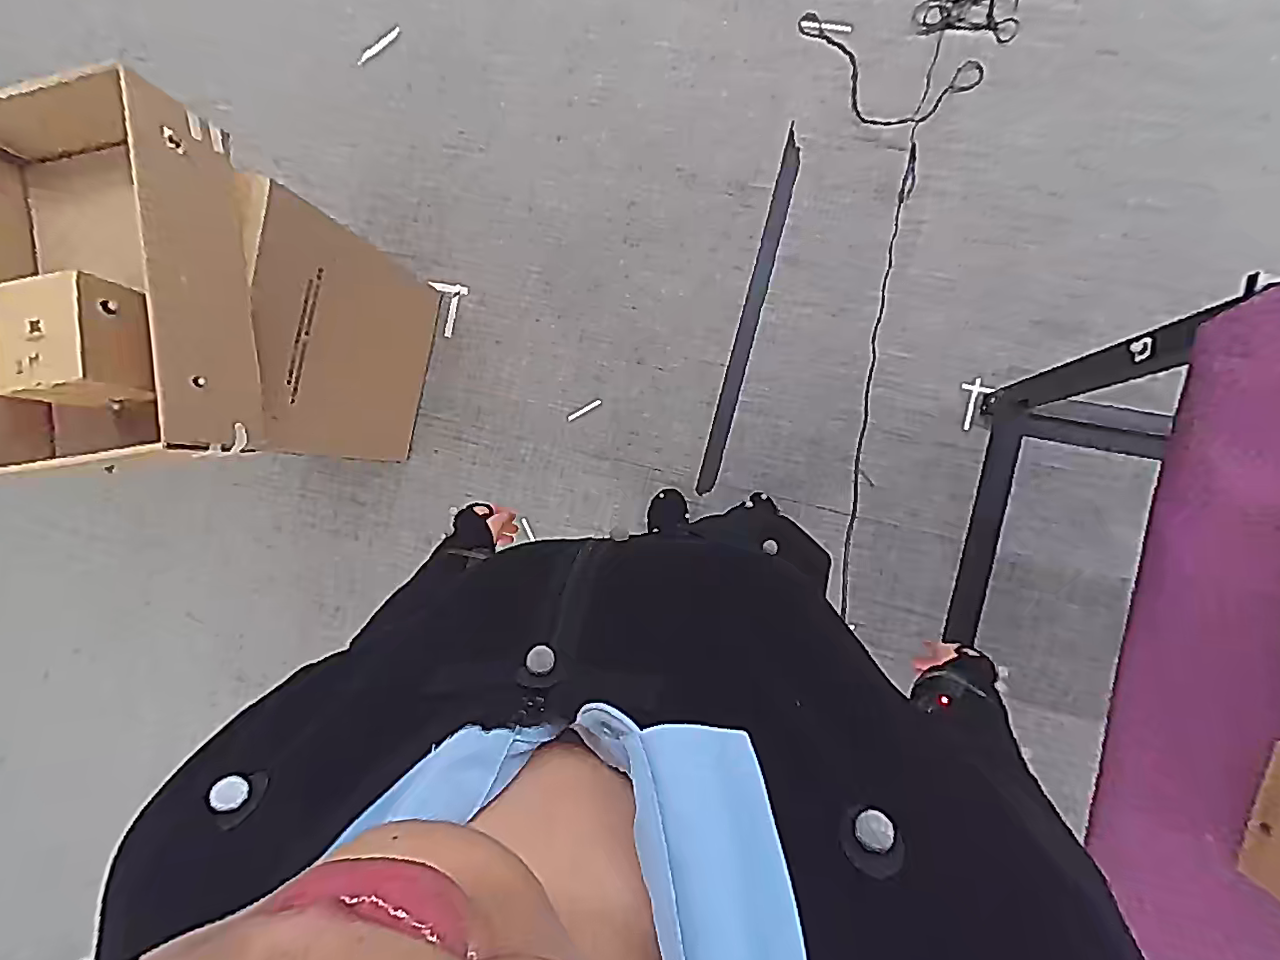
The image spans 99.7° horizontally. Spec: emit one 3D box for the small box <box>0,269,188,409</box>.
[{"bbox_3d":[-0.910,-0.226,0.908,0.168,0.176,0.179,-6,88,8],"label":"small box"}]
